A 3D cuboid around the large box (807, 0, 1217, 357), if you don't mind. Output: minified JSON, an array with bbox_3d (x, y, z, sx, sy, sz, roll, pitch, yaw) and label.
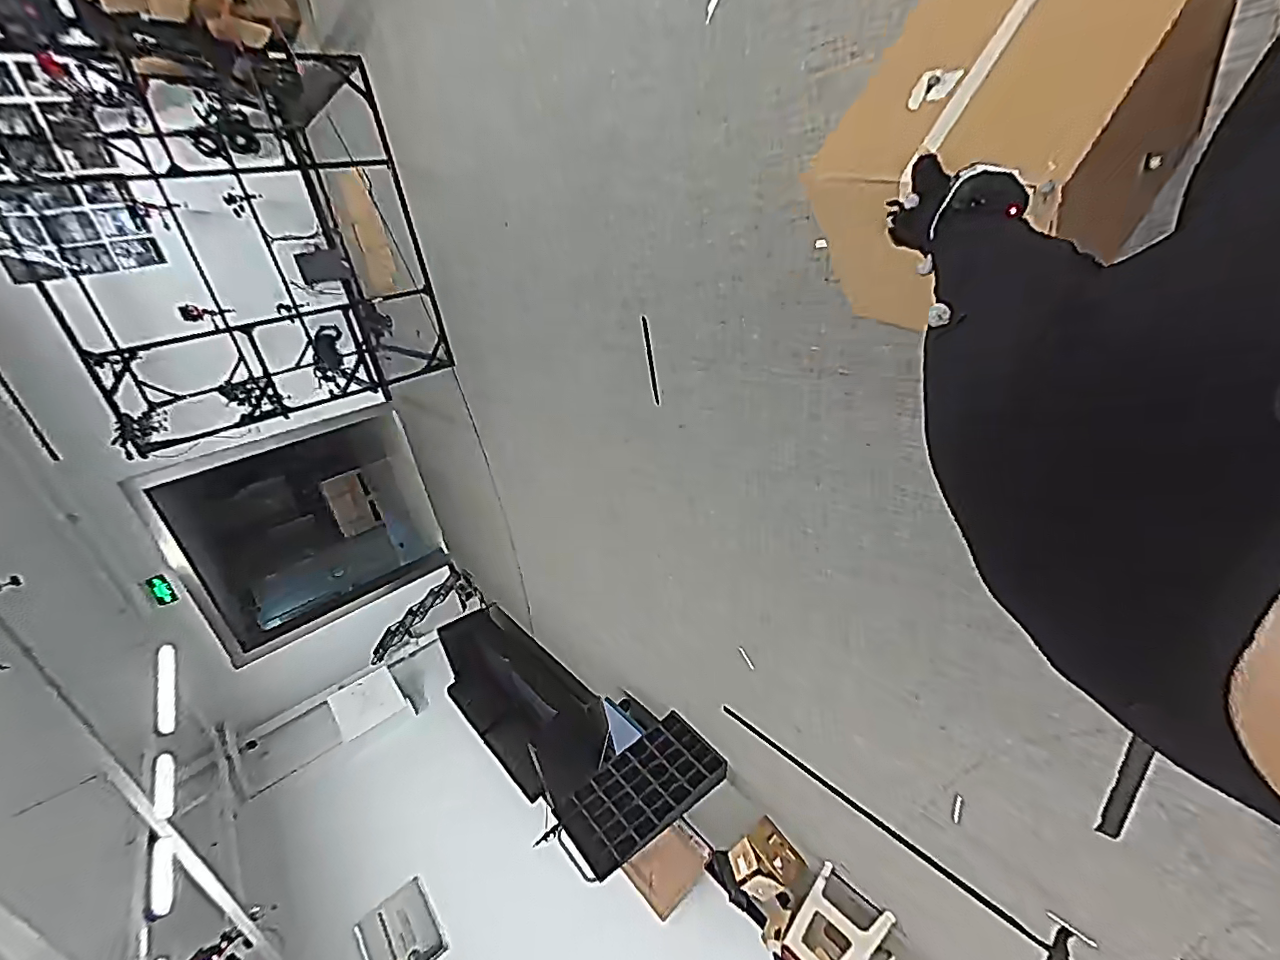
[{"bbox_3d":[0.516,-0.457,0.775,0.320,0.408,0.320,34,179,42],"label":"large box"}]
